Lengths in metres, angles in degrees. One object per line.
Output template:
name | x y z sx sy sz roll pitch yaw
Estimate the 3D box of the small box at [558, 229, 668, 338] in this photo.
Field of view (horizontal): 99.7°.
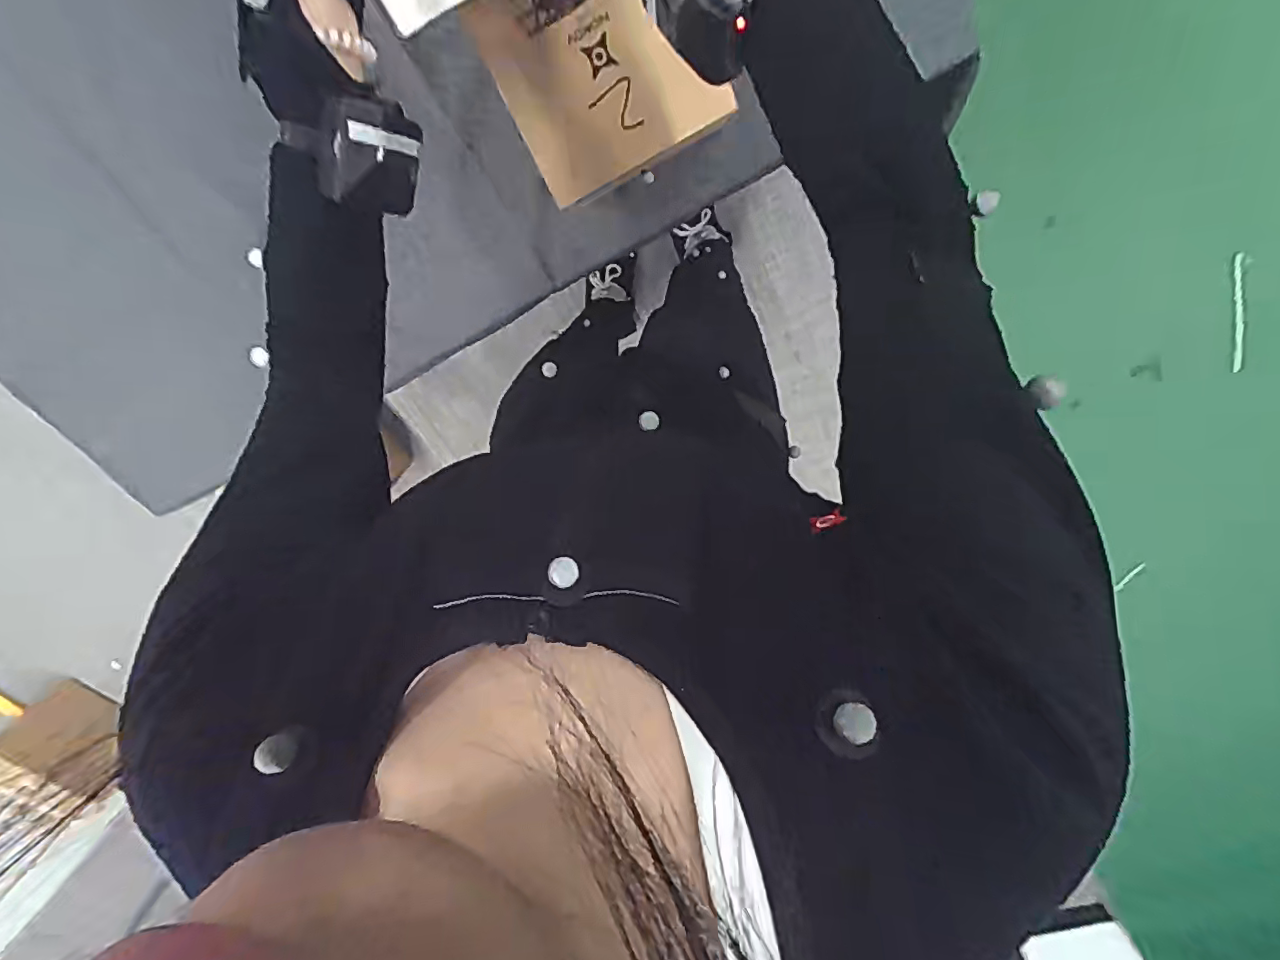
small box | -0.068 -0.464 1.273 0.179 0.176 0.168 48 125 -2
